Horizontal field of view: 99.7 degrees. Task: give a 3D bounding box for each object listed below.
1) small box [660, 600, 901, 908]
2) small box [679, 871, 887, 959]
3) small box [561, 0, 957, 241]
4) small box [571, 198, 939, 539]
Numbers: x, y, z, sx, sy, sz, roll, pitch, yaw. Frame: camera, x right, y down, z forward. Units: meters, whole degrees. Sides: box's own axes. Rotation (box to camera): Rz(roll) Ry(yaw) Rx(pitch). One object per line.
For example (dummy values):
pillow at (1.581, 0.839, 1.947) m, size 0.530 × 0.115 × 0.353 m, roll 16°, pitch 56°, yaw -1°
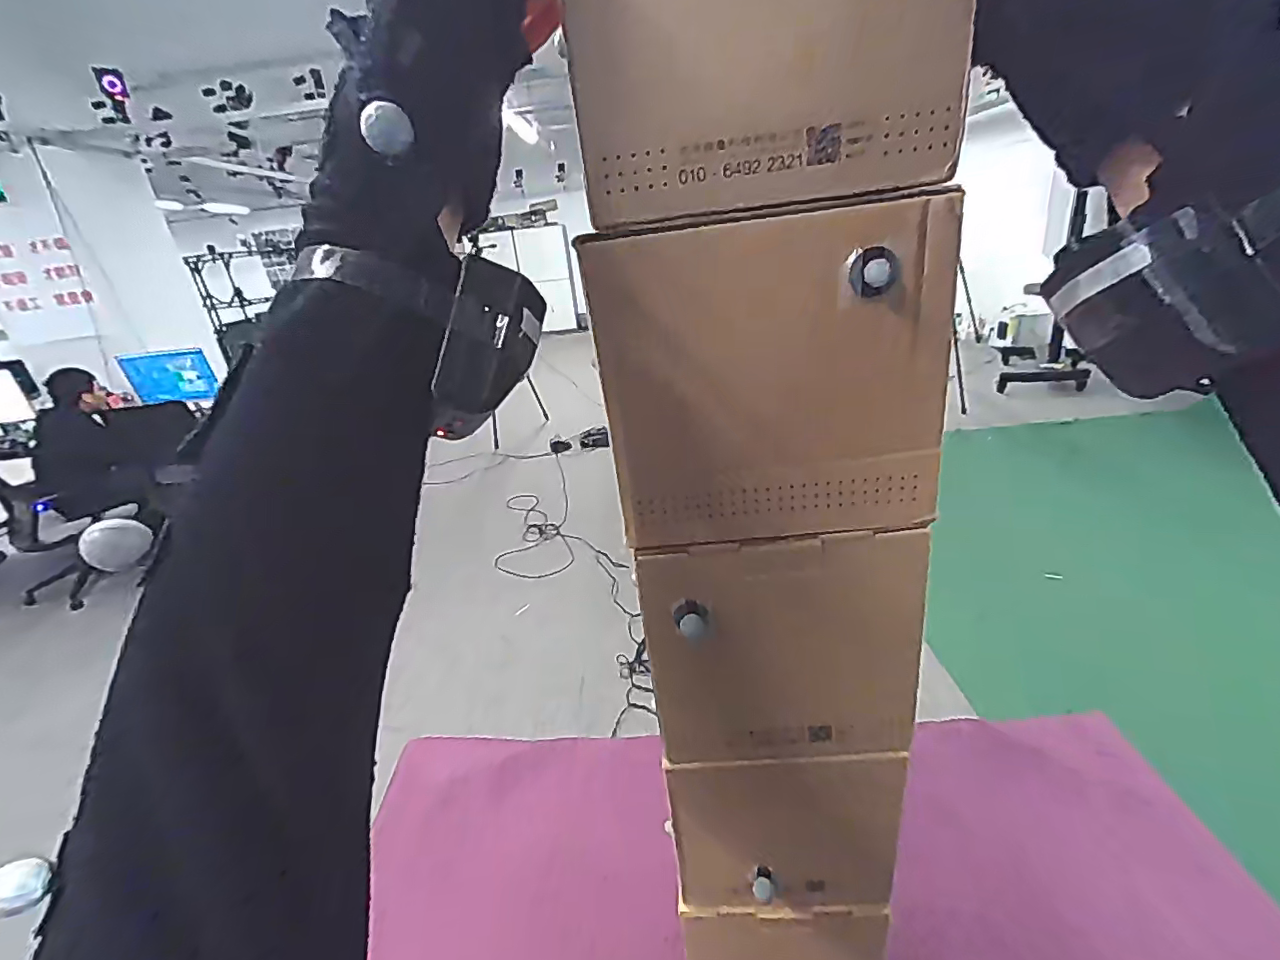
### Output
small box at (0.108, 0.229, 0.476) m, size 0.168 × 0.176 × 0.179 m, roll -5°, pitch 24°, yaw 6°
small box at (0.126, 0.379, 0.537) m, size 0.168 × 0.176 × 0.179 m, roll -5°, pitch 24°, yaw 6°
small box at (0.049, -0.227, 0.299) m, size 0.168 × 0.176 × 0.179 m, roll -8°, pitch 22°, yaw 3°
small box at (0.066, -0.071, 0.353) m, size 0.179 × 0.176 × 0.168 m, roll -5°, pitch 22°, yaw 5°
